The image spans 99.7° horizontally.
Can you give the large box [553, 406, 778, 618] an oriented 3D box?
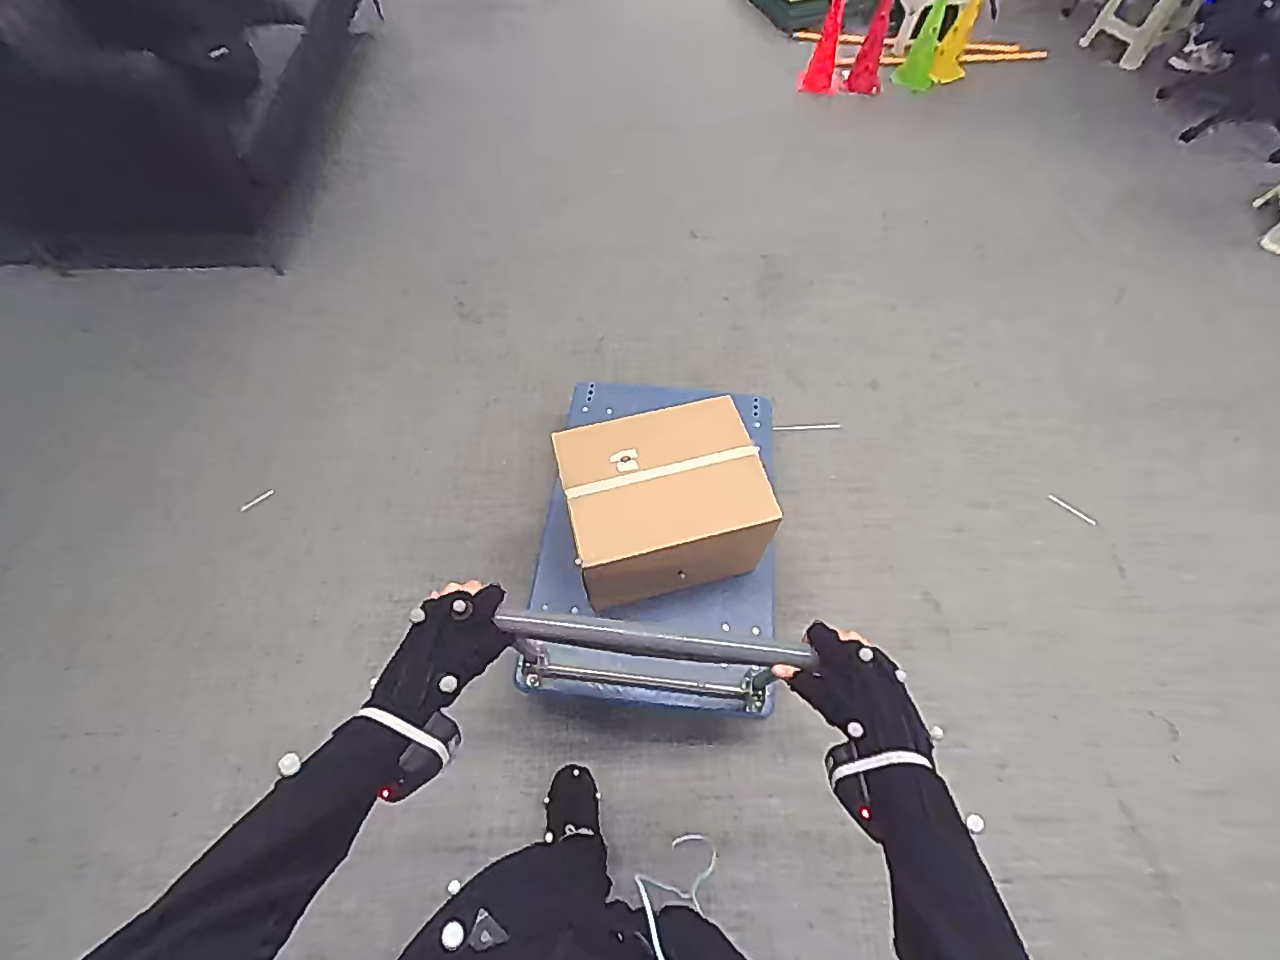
[{"bbox_3d":[0.047,0.082,1.240,0.408,0.320,0.320,-14,61,-6],"label":"large box"}]
